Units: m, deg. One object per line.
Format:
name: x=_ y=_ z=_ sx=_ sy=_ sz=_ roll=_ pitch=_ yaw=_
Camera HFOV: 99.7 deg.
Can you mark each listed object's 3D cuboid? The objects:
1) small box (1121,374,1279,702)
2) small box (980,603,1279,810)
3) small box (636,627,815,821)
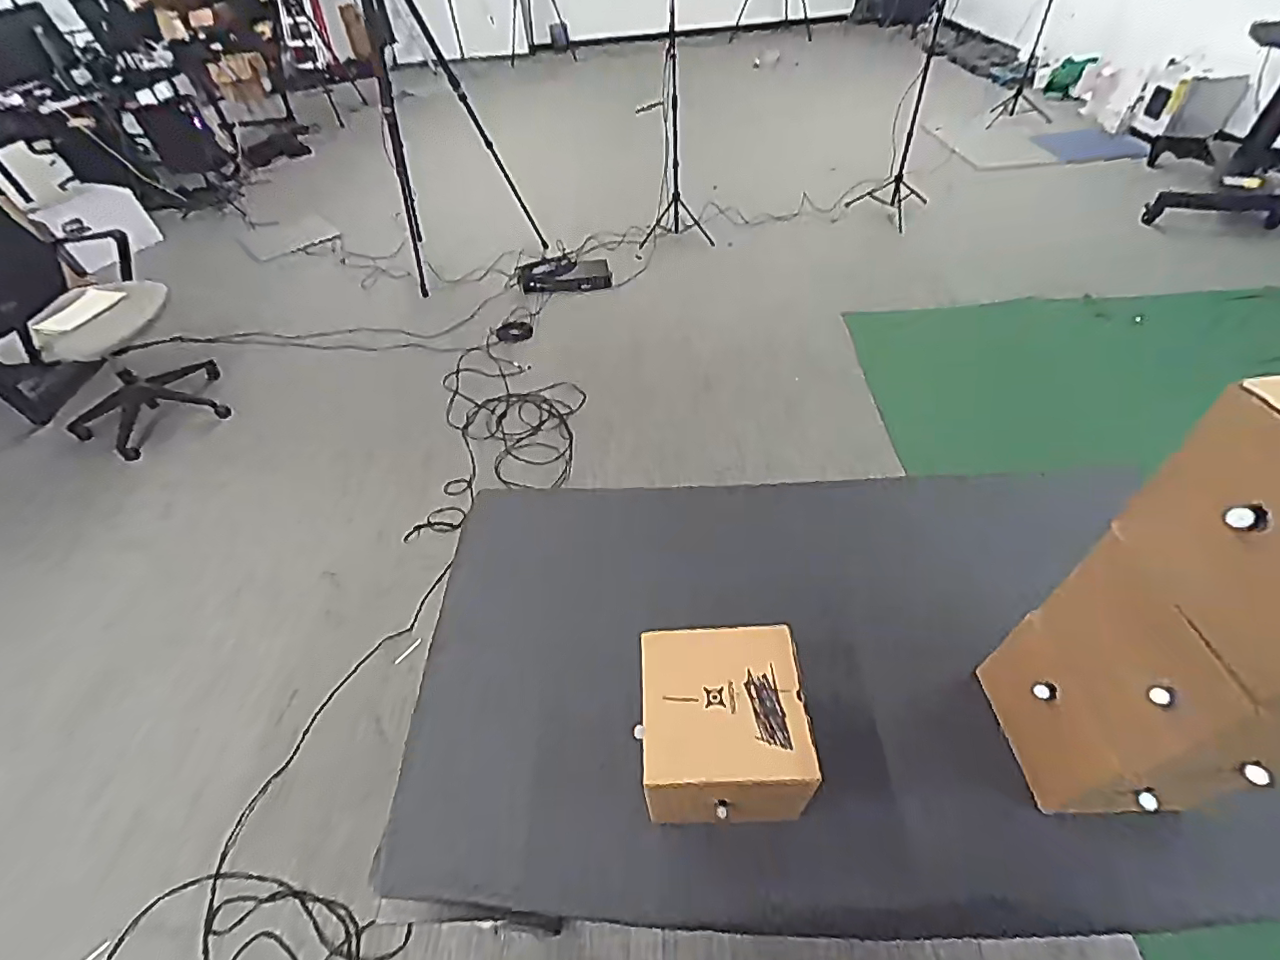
small box: x=0.506 y=0.039 z=0.376 sx=0.168 sy=0.176 sz=0.179 roll=-6 pitch=46 yaw=1
small box: x=0.532 y=0.262 z=0.616 sx=0.168 sy=0.176 sz=0.179 roll=-3 pitch=46 yaw=2
small box: x=0.088 y=0.287 z=0.634 sx=0.179 sy=0.176 sz=0.168 roll=-4 pitch=47 yaw=3
